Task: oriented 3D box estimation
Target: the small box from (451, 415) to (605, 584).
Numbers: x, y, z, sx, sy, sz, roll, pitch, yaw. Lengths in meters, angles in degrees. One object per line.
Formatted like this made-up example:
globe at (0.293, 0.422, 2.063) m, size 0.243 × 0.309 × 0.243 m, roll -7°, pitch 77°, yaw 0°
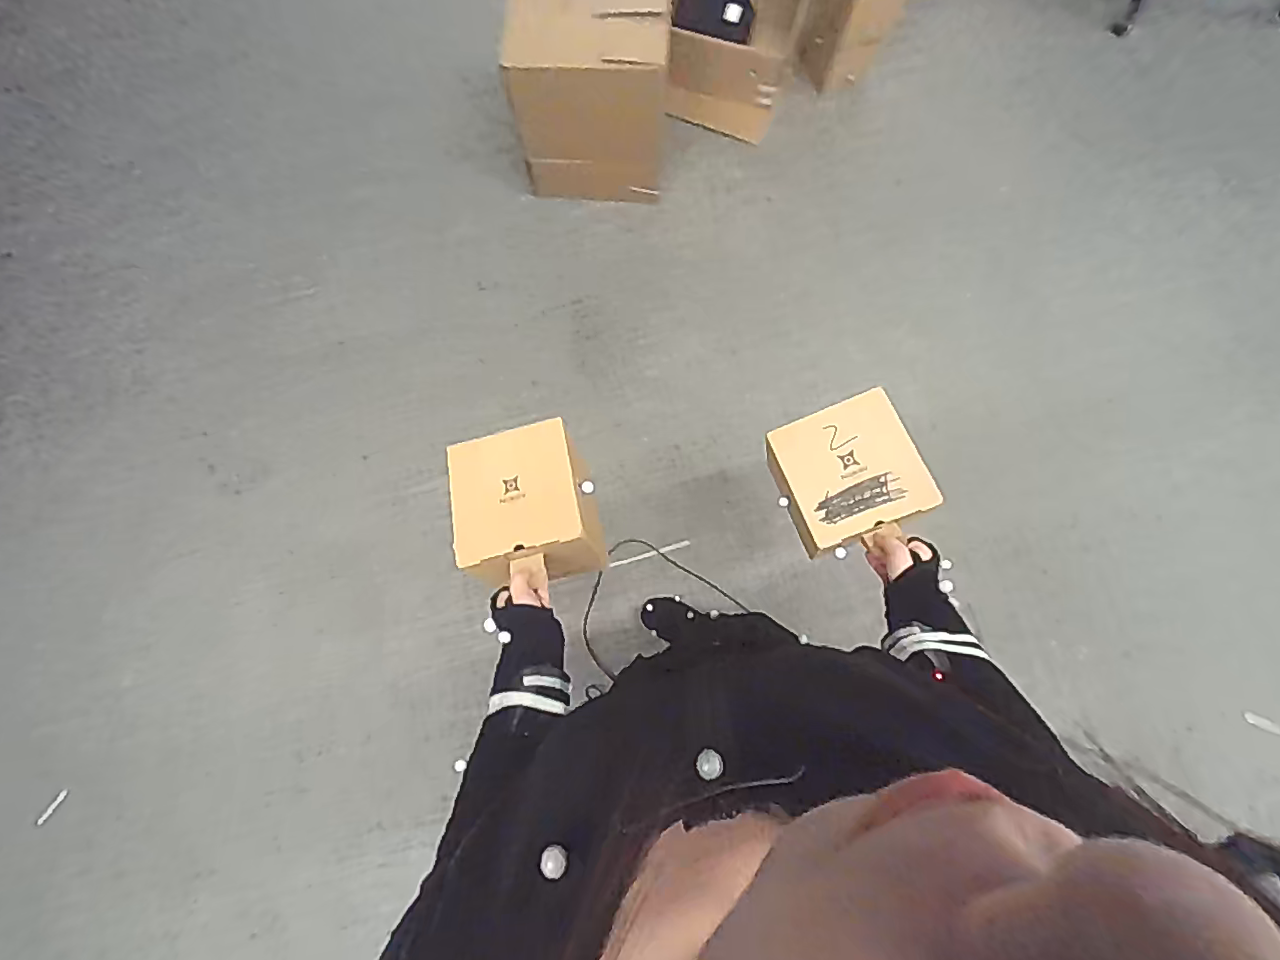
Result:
small box at (-0.155, 0.035, 0.779) m, size 0.168 × 0.176 × 0.179 m, roll -14°, pitch 67°, yaw 3°
